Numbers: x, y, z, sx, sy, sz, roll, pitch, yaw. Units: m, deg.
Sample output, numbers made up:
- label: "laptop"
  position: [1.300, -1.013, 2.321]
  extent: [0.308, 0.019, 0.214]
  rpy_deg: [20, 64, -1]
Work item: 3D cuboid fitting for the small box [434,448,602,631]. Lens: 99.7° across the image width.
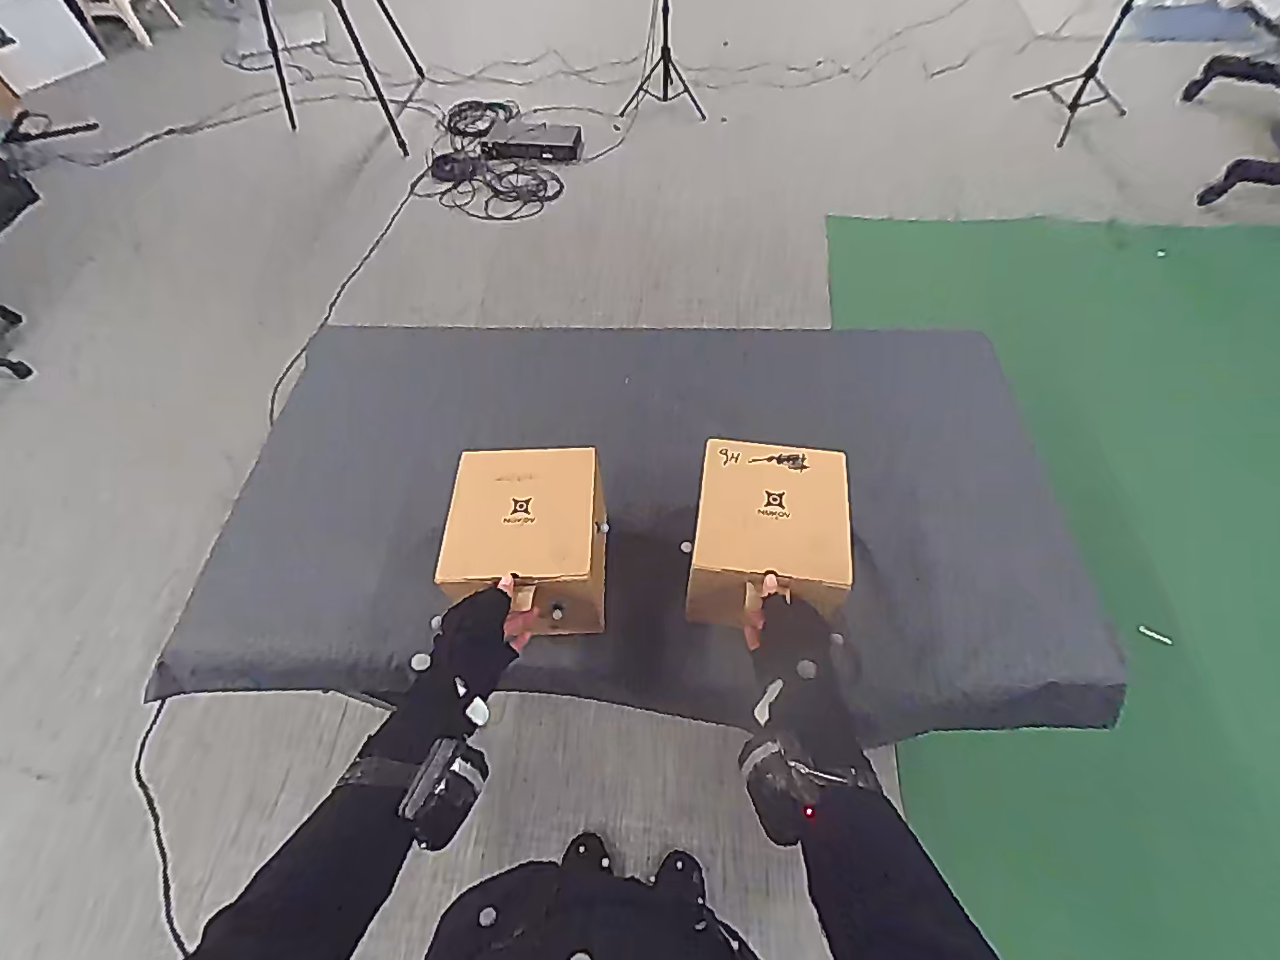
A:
- label: "small box"
  position: [-0.135, 0.081, 0.675]
  extent: [0.168, 0.176, 0.179]
  rpy_deg: [-2, 53, 0]
